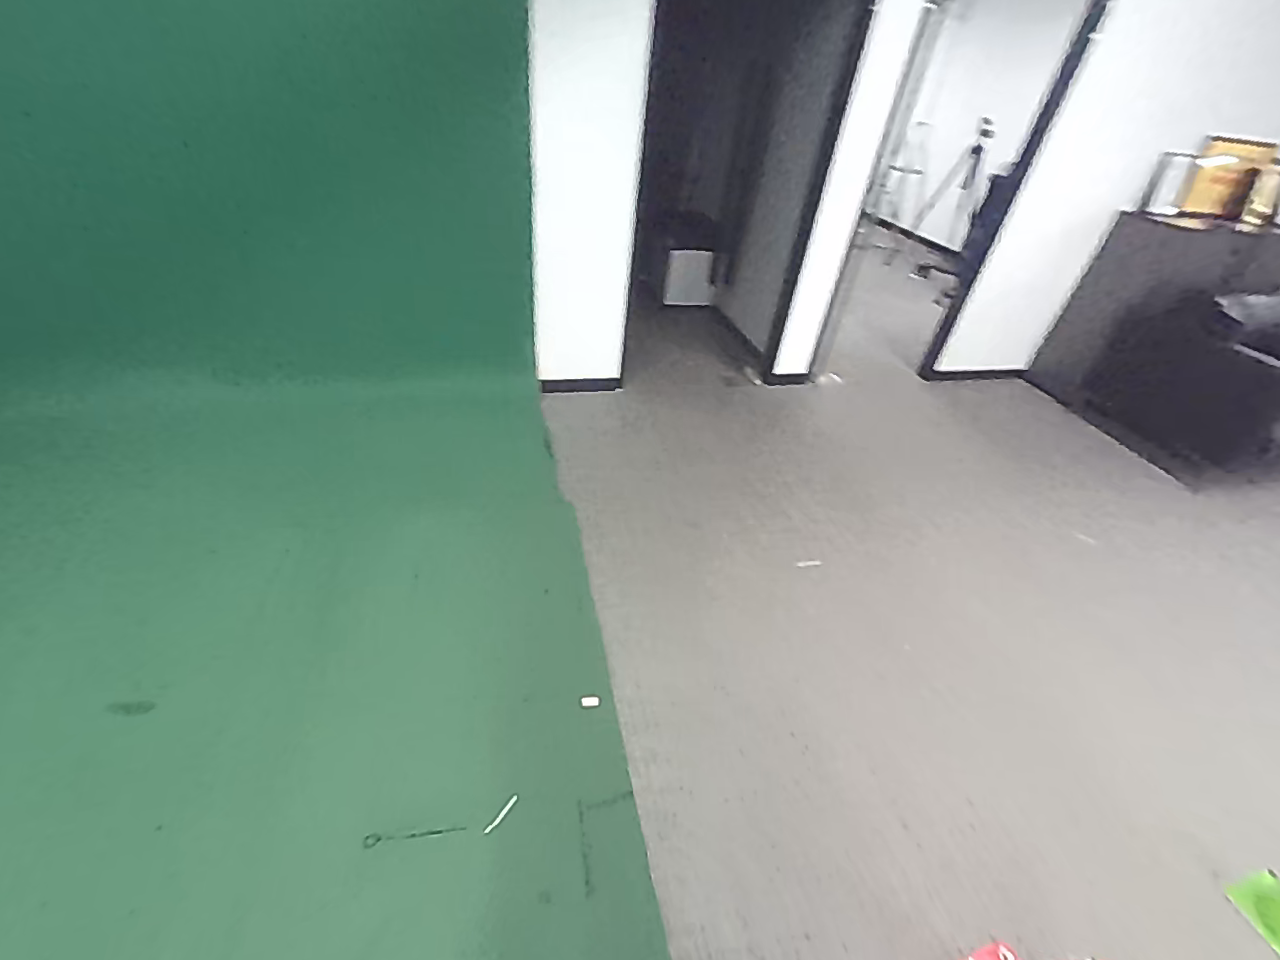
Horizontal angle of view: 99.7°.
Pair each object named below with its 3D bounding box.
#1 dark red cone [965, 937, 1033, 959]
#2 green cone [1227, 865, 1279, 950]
[{"bbox_3d":[0.801,0.977,1.024,0.201,0.394,0.202,-9,41,-18],"label":"dark red cone"},{"bbox_3d":[1.623,0.955,1.227,0.200,0.368,0.202,-6,41,-15],"label":"green cone"}]
